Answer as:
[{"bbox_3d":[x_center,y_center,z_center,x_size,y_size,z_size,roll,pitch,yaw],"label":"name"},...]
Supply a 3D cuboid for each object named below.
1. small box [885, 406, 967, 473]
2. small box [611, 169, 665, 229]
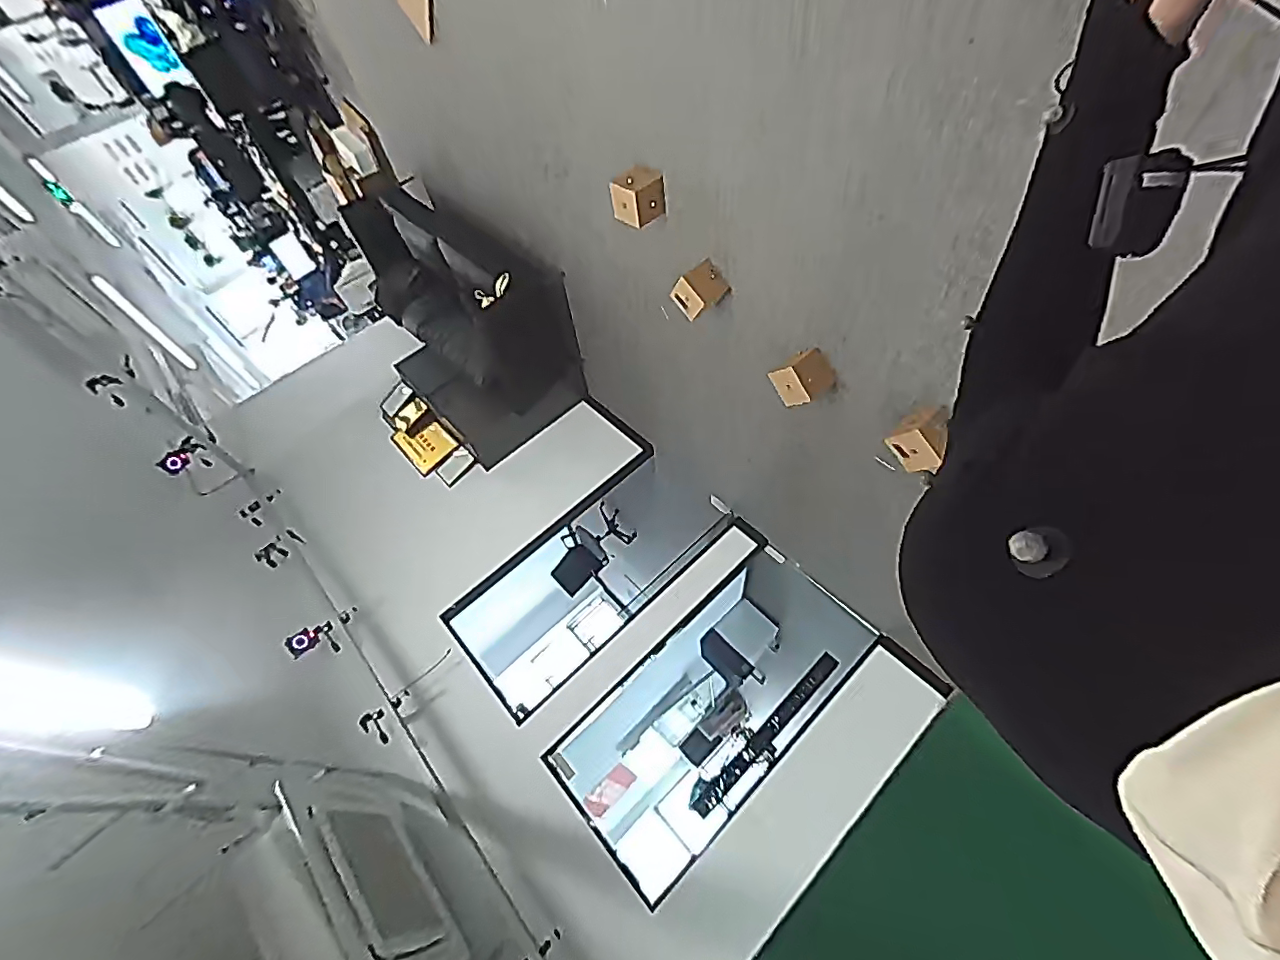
[{"bbox_3d":[1.074,-0.150,2.031,0.168,0.176,0.179,52,161,-4],"label":"small box"},{"bbox_3d":[-0.001,-1.263,2.421,0.179,0.176,0.168,40,158,30],"label":"small box"}]
